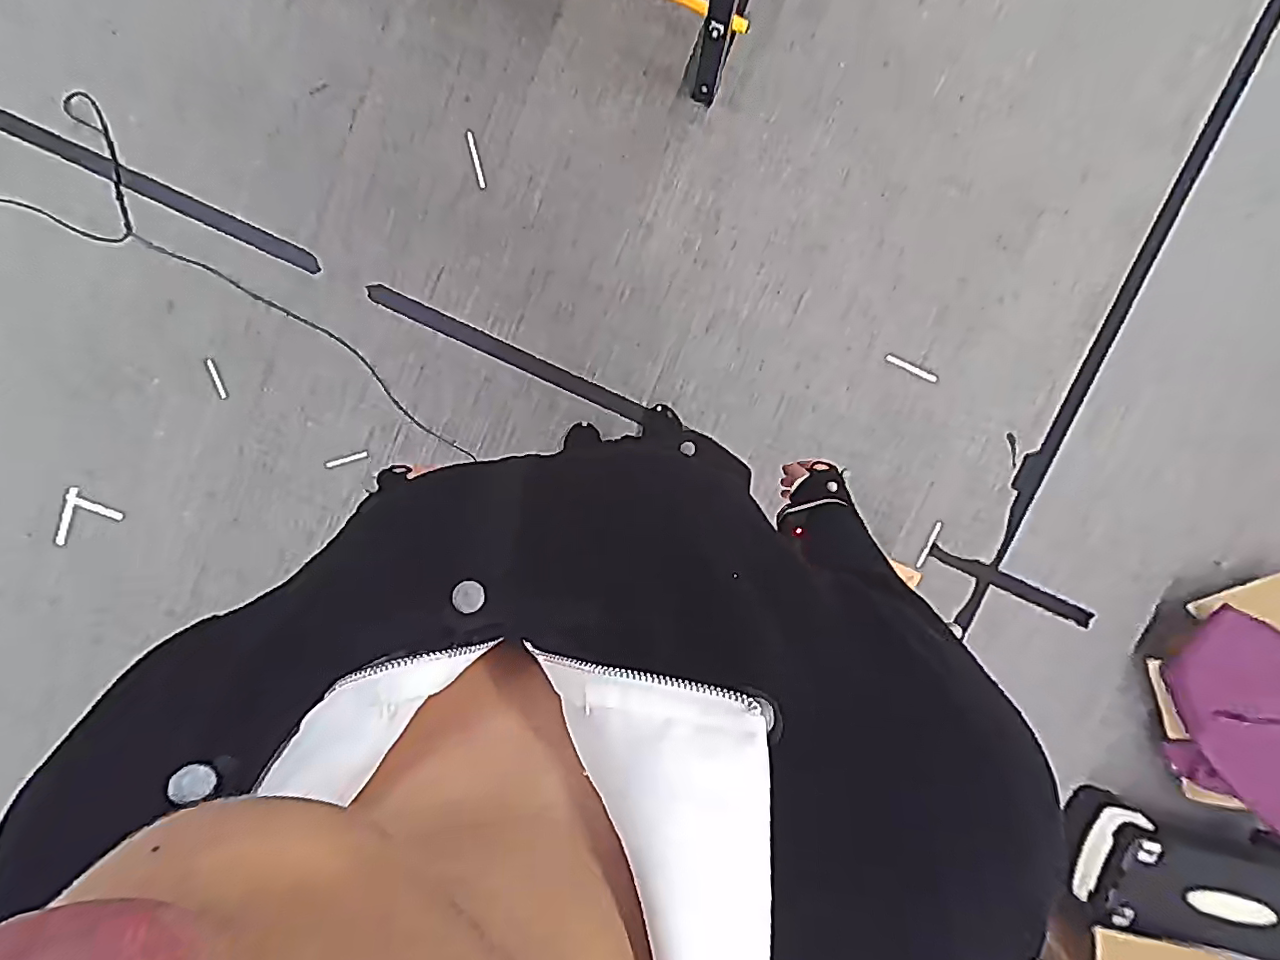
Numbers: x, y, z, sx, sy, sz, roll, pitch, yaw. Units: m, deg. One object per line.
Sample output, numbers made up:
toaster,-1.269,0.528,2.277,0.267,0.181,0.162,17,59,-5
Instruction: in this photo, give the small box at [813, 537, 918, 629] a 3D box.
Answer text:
small box,0.593,0.267,1.451,0.179,0.176,0.168,25,96,-3
